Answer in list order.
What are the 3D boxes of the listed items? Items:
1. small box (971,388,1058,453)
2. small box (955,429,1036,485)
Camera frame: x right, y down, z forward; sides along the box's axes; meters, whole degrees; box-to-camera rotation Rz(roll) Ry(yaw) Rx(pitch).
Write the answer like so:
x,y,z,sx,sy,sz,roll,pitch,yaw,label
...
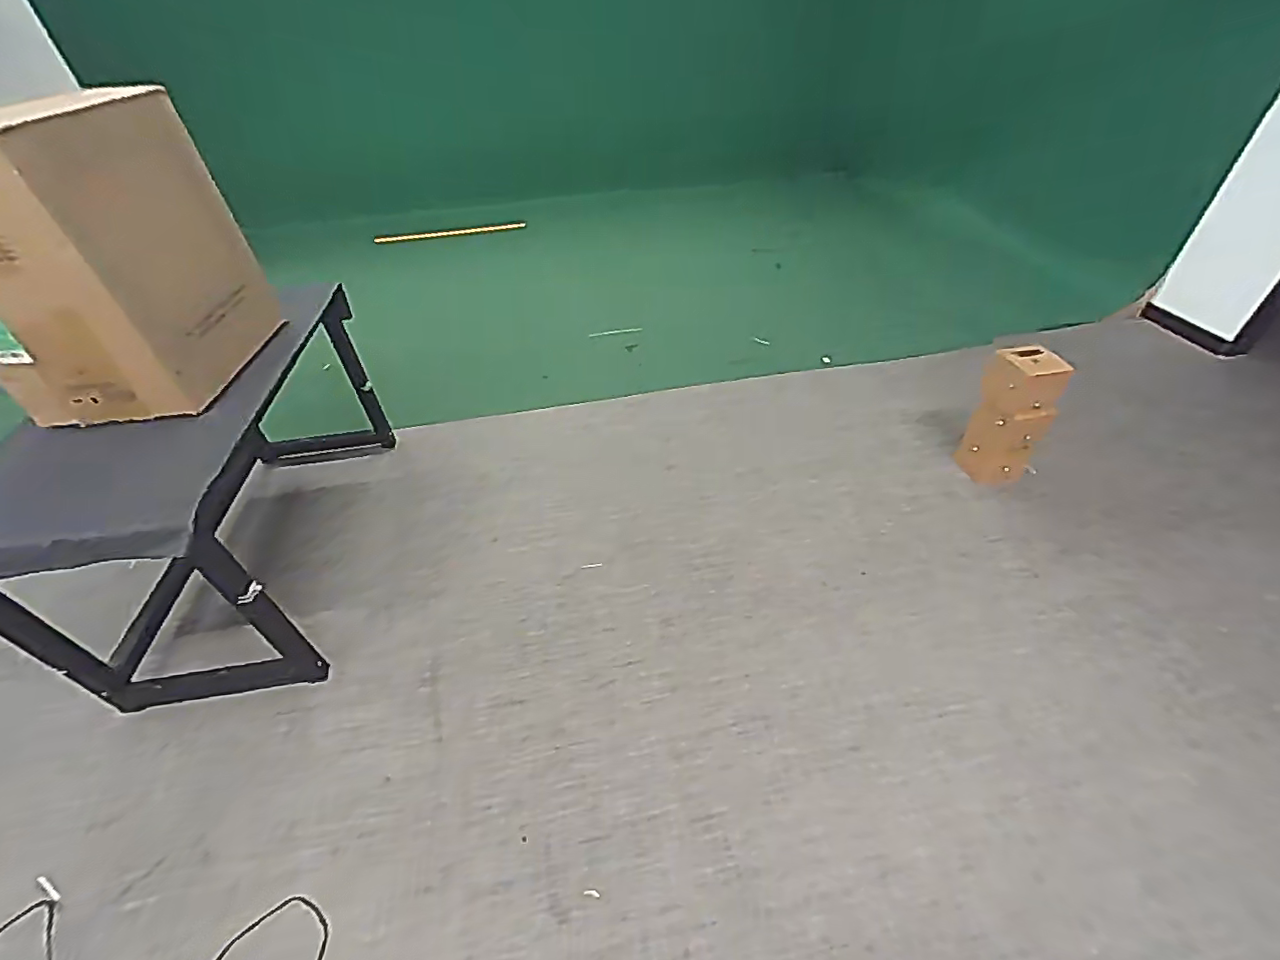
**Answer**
x,y,z,sx,sy,sz,roll,pitch,yaw,label
1.367,-0.213,1.989,0.168,0.176,0.179,-10,44,-7,small box
1.376,-0.097,2.106,0.168,0.176,0.179,-10,43,-7,small box
